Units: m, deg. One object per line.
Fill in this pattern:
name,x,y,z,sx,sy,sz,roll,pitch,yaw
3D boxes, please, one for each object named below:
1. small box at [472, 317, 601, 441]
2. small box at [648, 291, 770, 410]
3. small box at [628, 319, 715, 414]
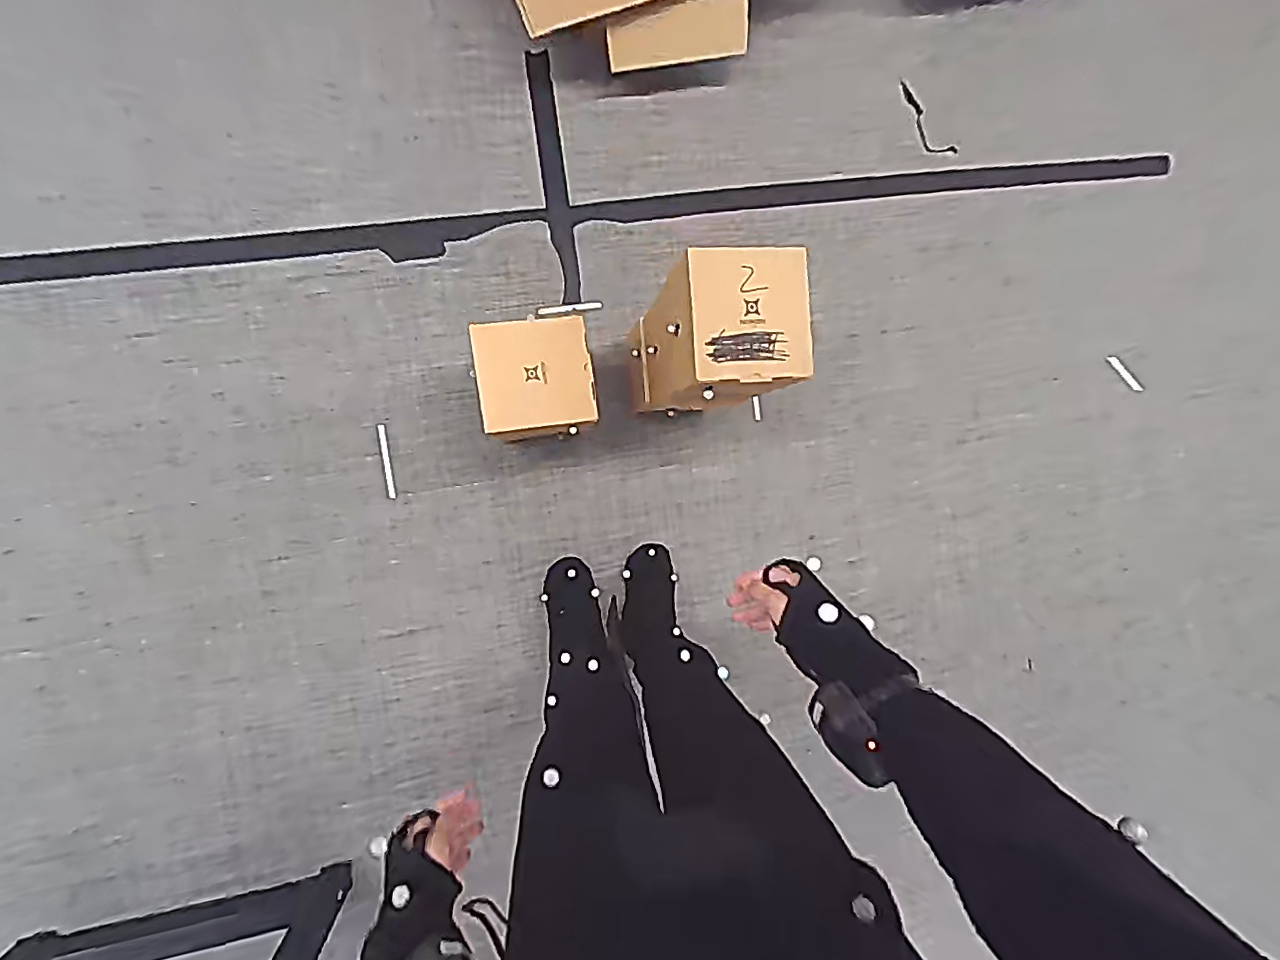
small box,-0.169,-0.159,0.896,0.179,0.176,0.168,-9,93,-11
small box,0.112,-0.216,0.943,0.168,0.176,0.179,-5,92,-10
small box,0.079,-0.226,1.104,0.179,0.176,0.168,-4,92,-11
